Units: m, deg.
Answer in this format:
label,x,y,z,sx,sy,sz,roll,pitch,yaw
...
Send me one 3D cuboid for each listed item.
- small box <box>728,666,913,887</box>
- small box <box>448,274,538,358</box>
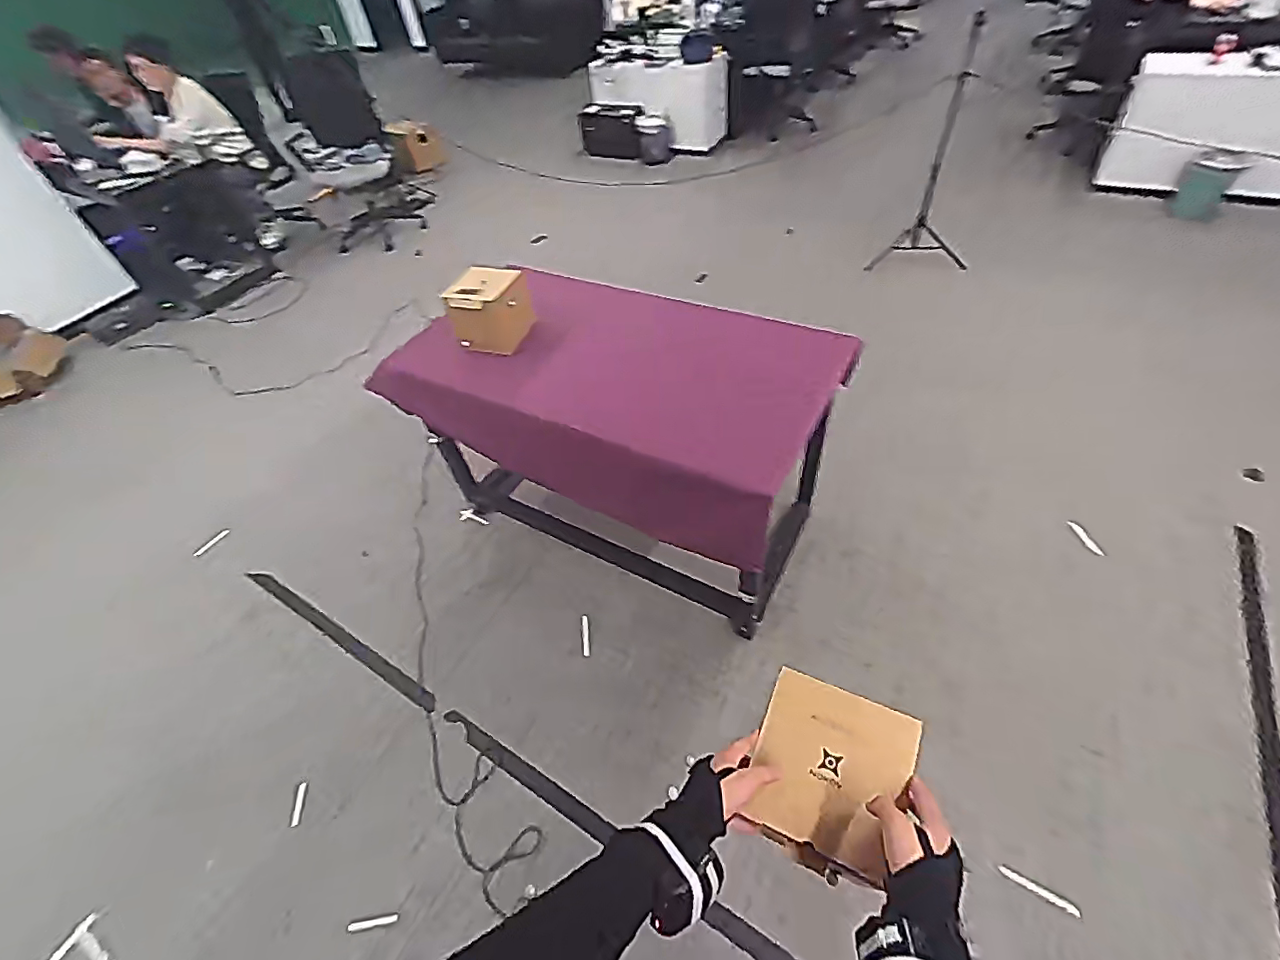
label,x,y,z,sx,sy,sz,roll,pitch,yaw
small box,0.221,0.367,0.674,0.168,0.176,0.179,16,59,22
small box,-0.415,-0.474,1.567,0.168,0.176,0.179,11,50,17
